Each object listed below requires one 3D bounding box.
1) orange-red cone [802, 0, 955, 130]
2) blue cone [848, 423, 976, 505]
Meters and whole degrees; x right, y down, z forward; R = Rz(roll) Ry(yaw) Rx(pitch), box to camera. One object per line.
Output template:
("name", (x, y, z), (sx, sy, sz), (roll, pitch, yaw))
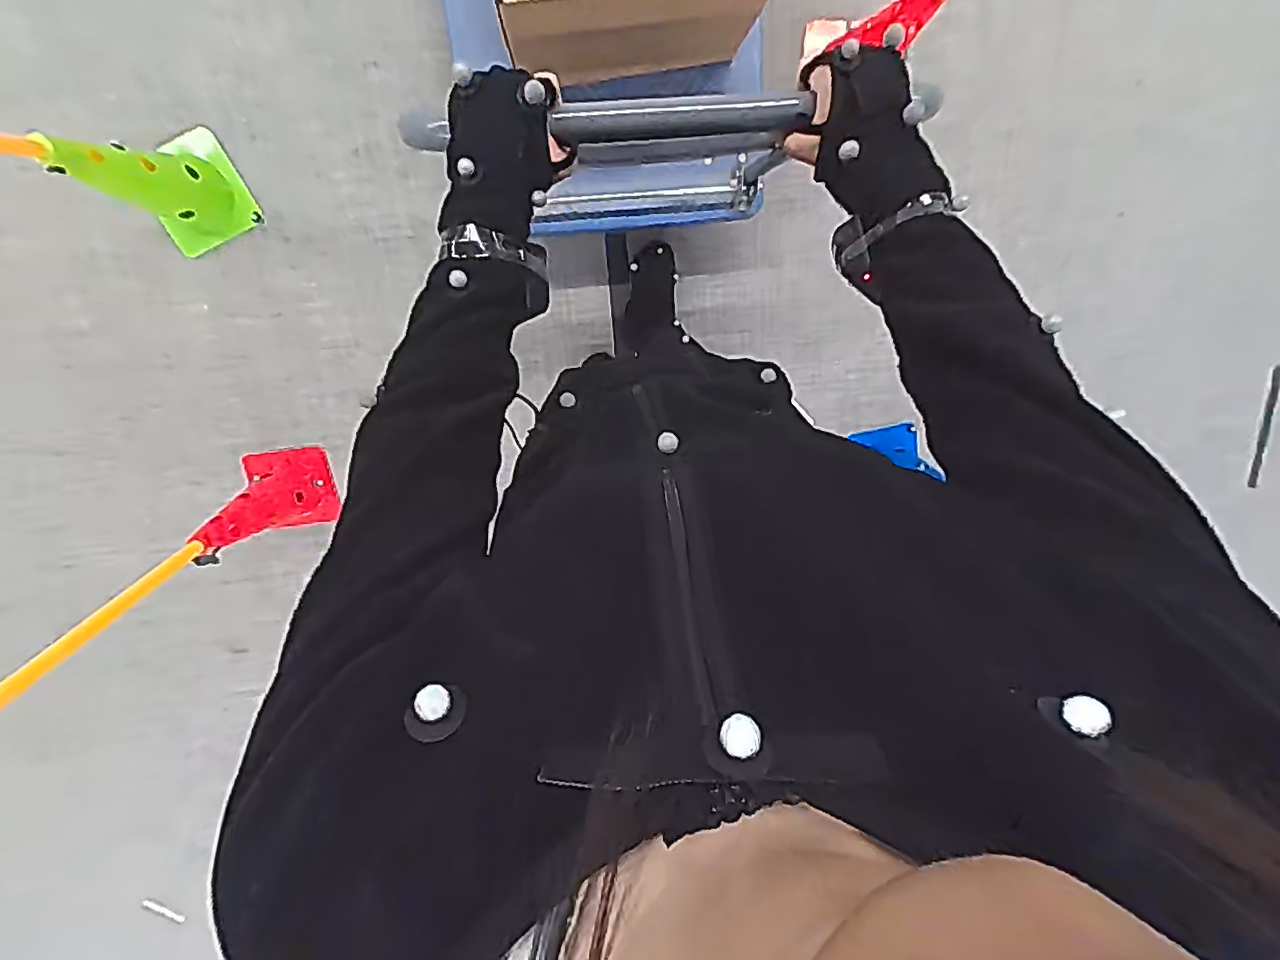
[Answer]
("orange-red cone", (0.481, -0.843, 1.037), (0.199, 0.360, 0.198), (-1, 108, -7))
("blue cone", (0.686, -0.005, 1.332), (0.193, 0.380, 0.192), (-10, 107, -3))
